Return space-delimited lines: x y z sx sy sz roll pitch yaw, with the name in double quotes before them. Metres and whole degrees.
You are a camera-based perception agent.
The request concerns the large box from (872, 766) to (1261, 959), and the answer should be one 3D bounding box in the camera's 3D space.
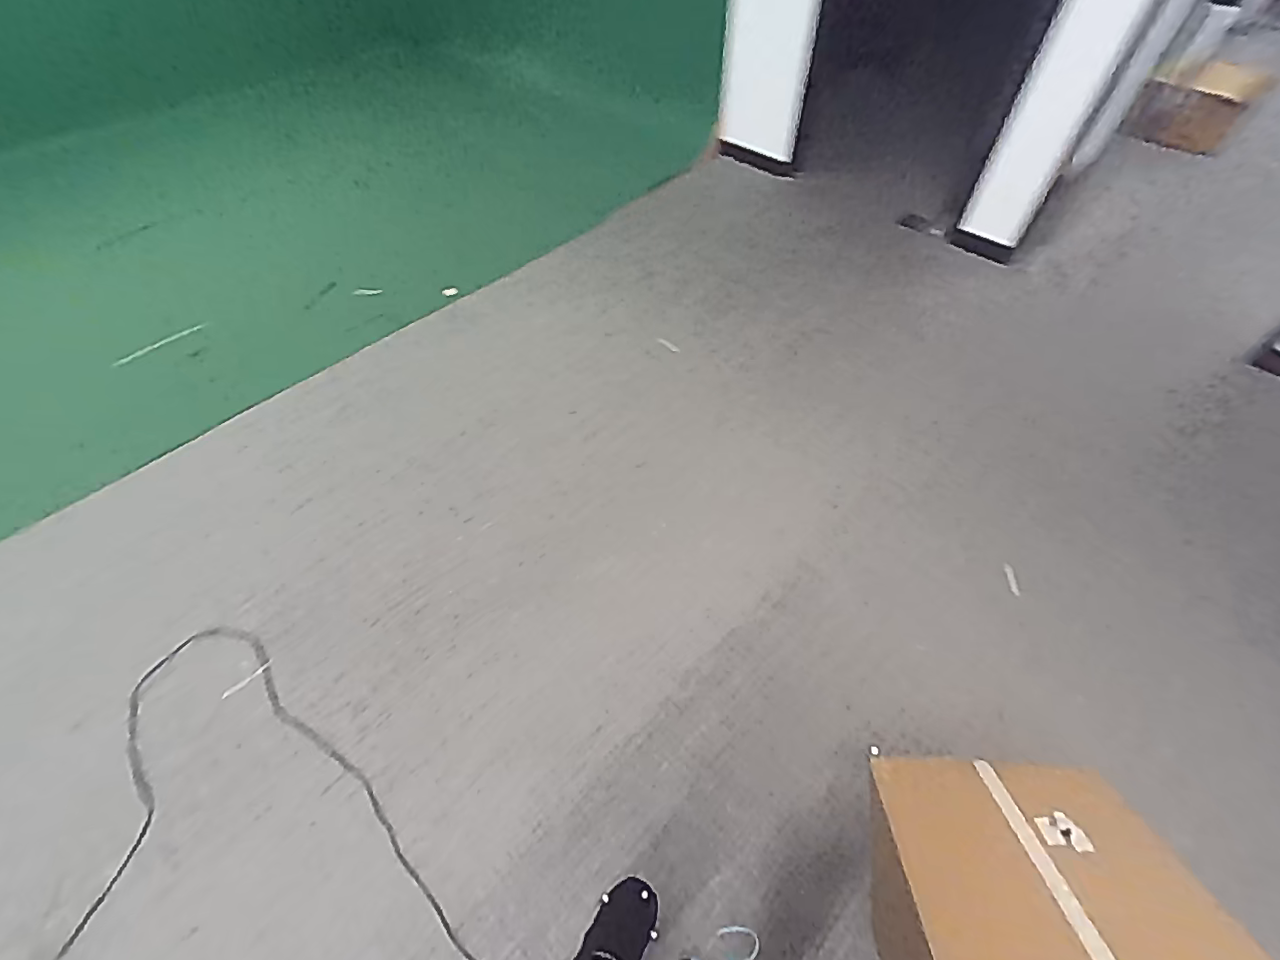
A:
"large box" 0.484 0.616 0.639 0.320 0.408 0.320 -1 98 12
